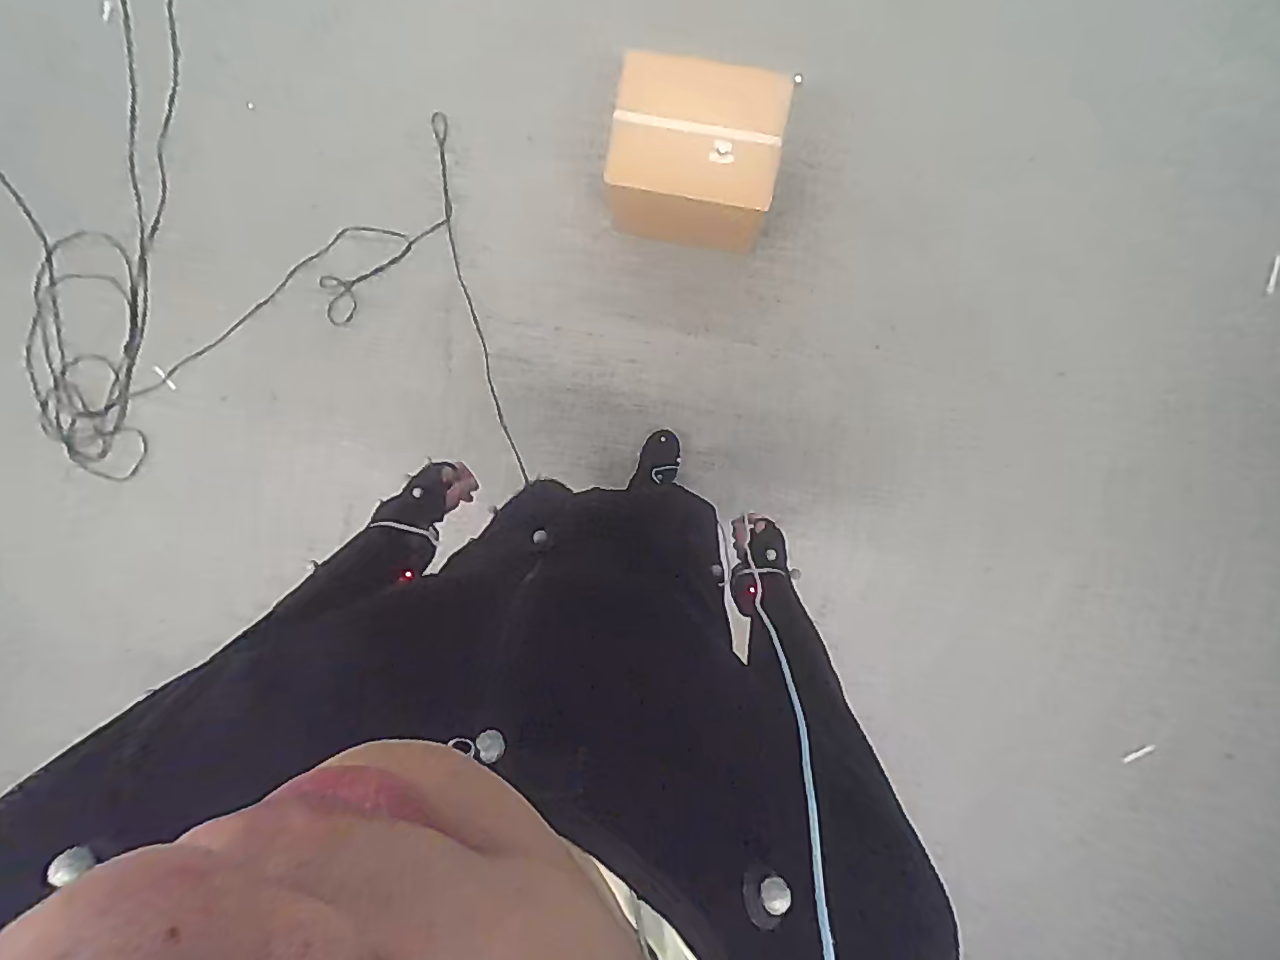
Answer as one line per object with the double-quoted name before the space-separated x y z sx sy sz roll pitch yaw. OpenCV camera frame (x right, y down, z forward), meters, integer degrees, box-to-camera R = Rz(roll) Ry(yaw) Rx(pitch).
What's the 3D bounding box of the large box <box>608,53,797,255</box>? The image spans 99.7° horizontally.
"large box" 0.149 -0.828 1.421 0.408 0.320 0.320 12 94 2
